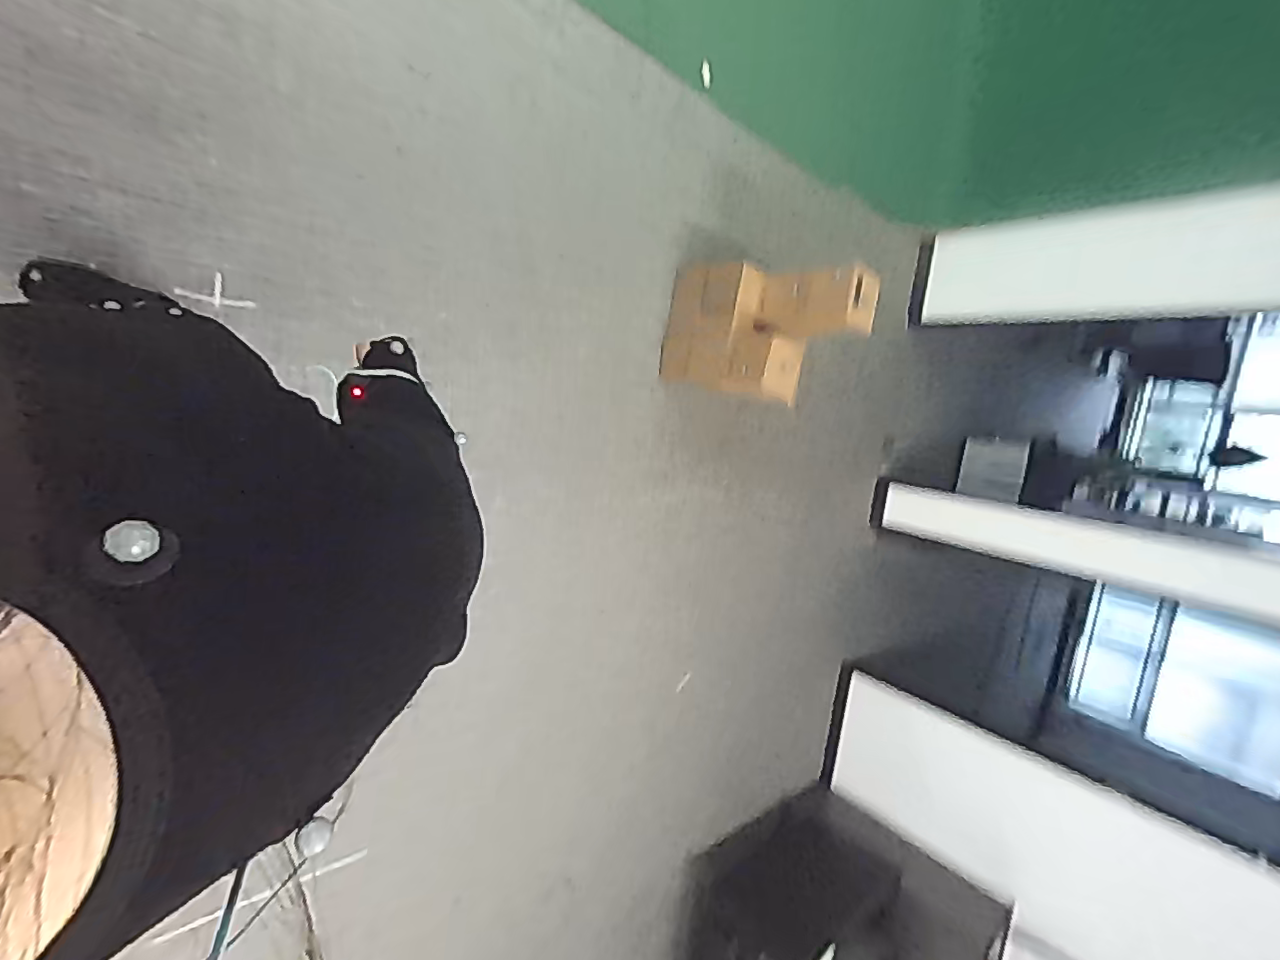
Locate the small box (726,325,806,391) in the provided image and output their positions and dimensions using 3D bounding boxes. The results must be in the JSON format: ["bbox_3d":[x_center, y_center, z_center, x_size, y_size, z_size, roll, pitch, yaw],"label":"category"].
[{"bbox_3d":[0.407,-0.396,1.758,0.179,0.176,0.168,9,97,-44],"label":"small box"}]

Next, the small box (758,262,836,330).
[{"bbox_3d":[0.524,-0.610,1.807,0.179,0.176,0.168,8,95,-44],"label":"small box"}]
